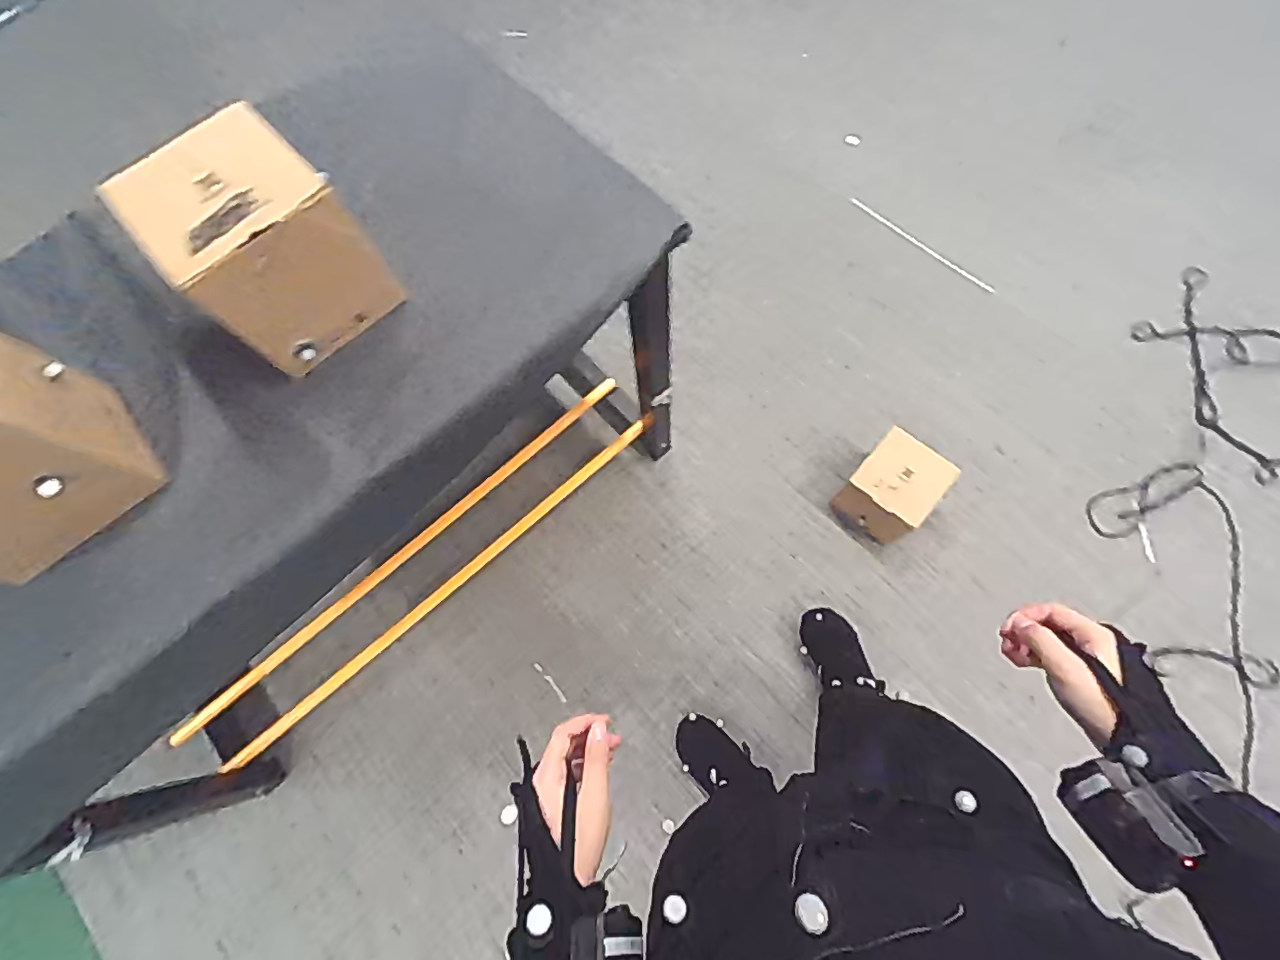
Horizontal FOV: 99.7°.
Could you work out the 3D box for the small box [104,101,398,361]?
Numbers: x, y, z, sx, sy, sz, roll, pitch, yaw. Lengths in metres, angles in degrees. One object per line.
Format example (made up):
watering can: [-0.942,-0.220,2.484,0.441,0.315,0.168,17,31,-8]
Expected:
small box: [-0.410,-0.259,0.602,0.168,0.176,0.179,-43,73,-11]

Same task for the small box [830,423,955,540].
small box: [0.561,0.009,1.228,0.168,0.176,0.179,39,78,15]

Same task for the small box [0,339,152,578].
small box: [-0.646,-0.027,0.536,0.179,0.176,0.168,-42,73,-10]
